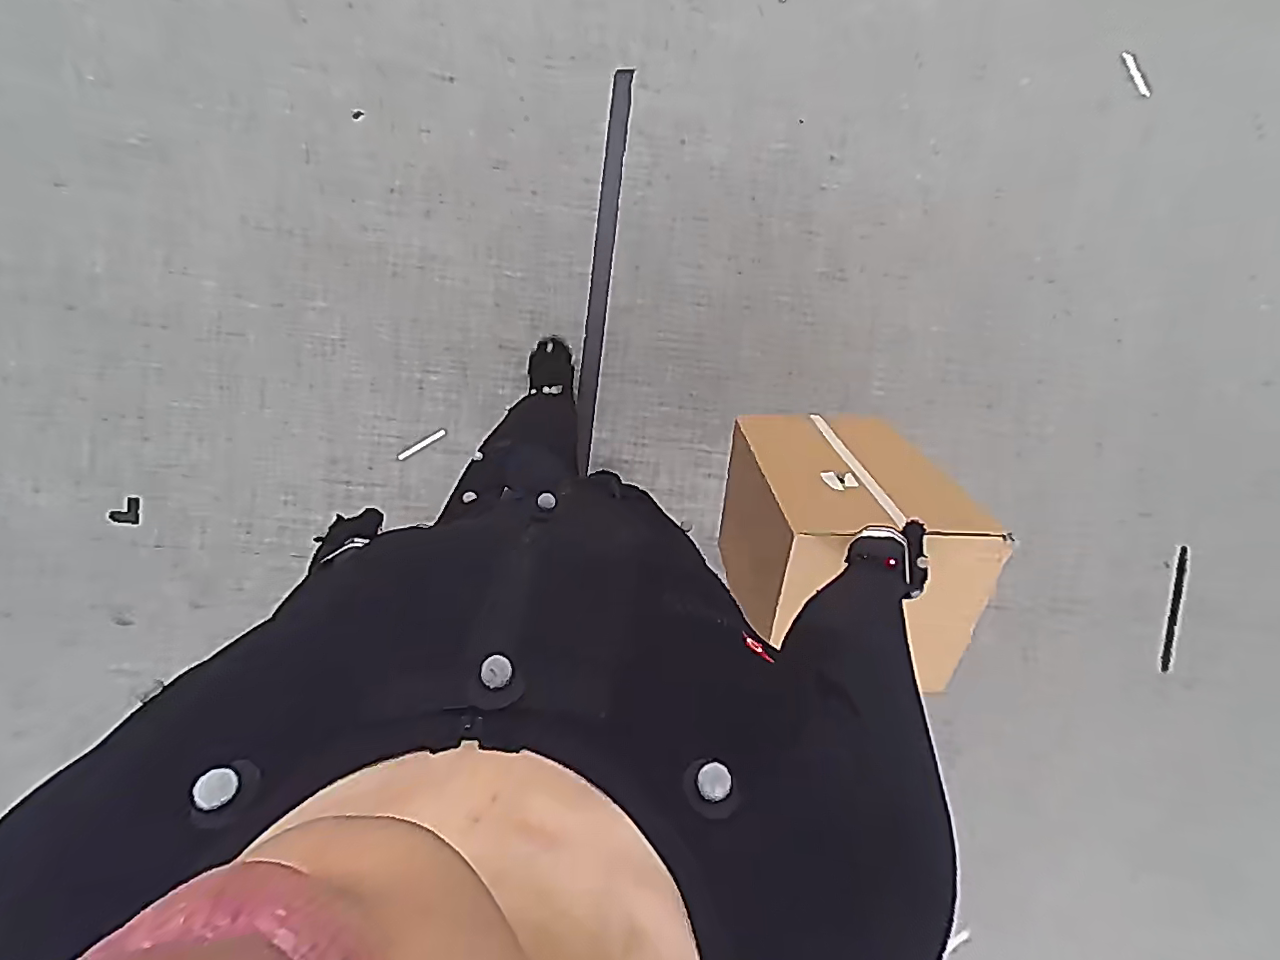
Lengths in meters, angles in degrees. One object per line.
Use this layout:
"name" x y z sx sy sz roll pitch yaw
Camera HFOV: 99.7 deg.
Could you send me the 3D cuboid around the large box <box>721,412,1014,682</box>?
"large box" 0.352 0.102 0.986 0.320 0.408 0.320 0 122 -3
